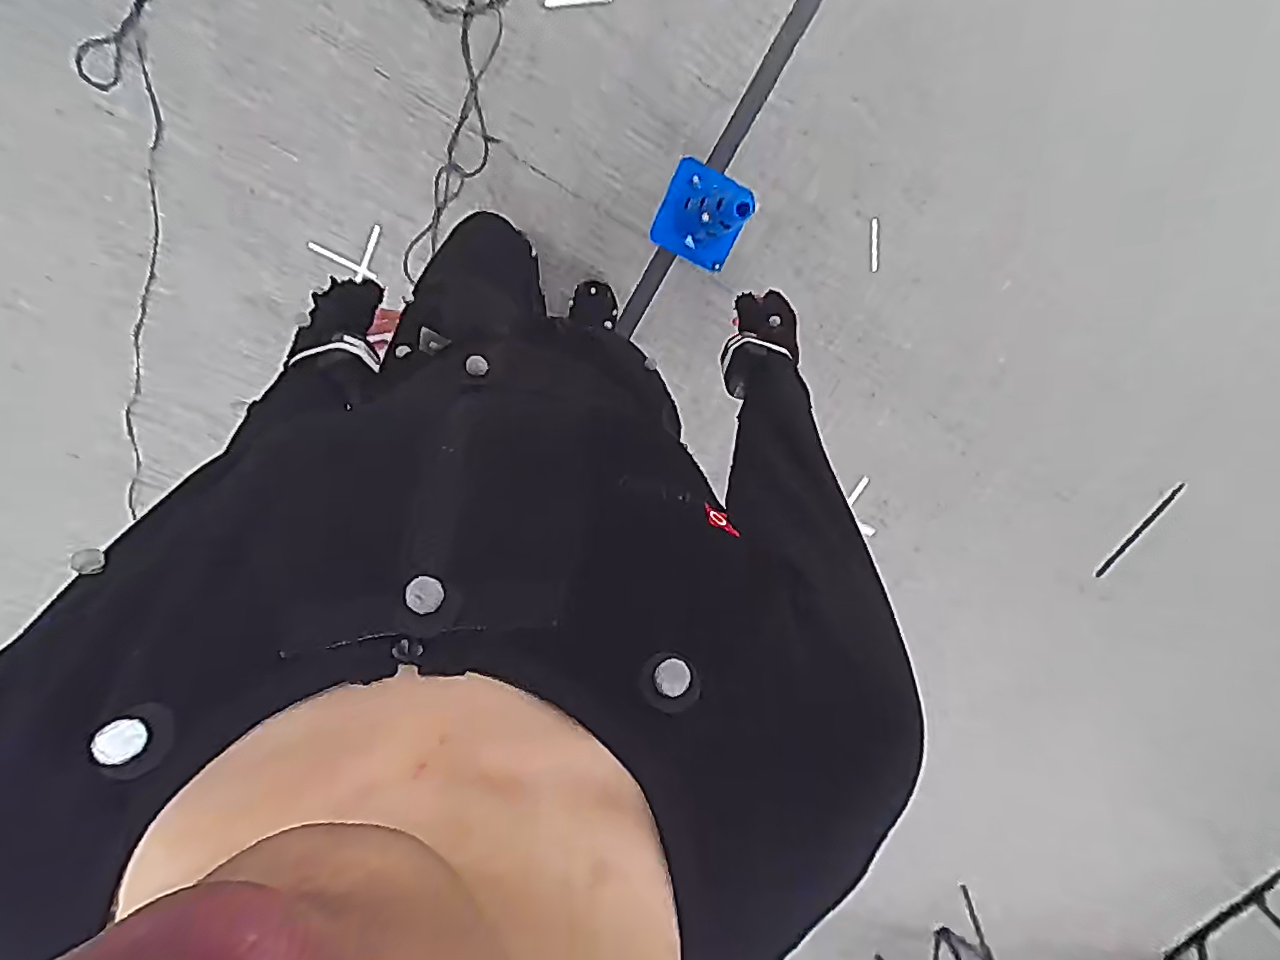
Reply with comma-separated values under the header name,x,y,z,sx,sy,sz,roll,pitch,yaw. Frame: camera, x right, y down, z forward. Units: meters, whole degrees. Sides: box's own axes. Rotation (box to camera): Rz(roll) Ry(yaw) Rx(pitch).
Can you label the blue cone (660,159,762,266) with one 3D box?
name,x,y,z,sx,sy,sz,roll,pitch,yaw
blue cone,0.174,-0.568,1.142,0.192,0.380,0.193,23,109,-16
